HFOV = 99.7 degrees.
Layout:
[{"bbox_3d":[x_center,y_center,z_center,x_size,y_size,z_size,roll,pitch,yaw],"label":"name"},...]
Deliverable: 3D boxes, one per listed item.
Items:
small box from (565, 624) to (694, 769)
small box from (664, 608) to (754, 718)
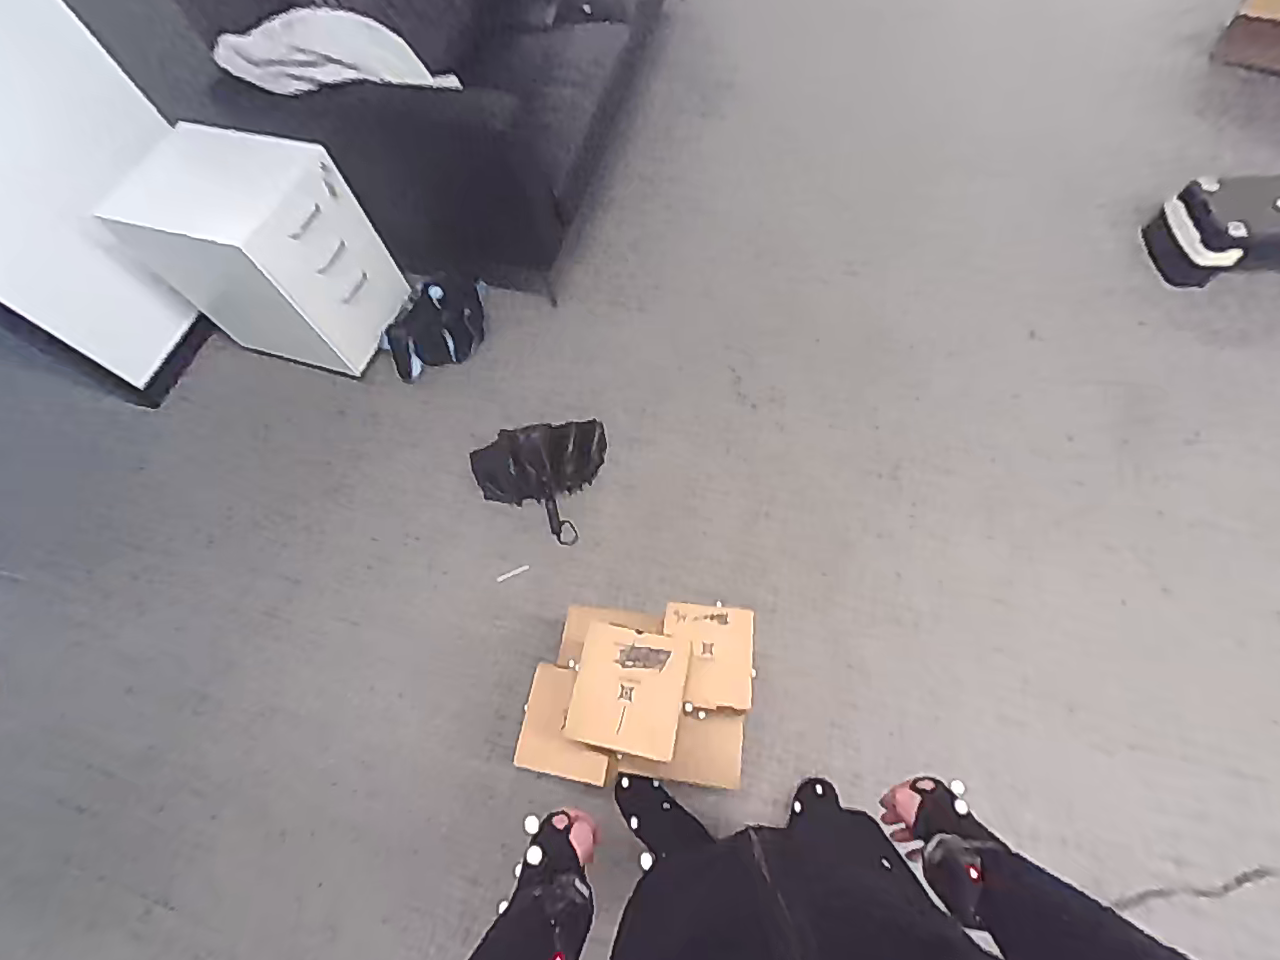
[{"bbox_3d":[-0.008,0.351,0.884,0.168,0.176,0.179,9,68,11],"label":"small box"},{"bbox_3d":[0.129,0.360,1.049,0.168,0.176,0.179,4,65,8],"label":"small box"}]
